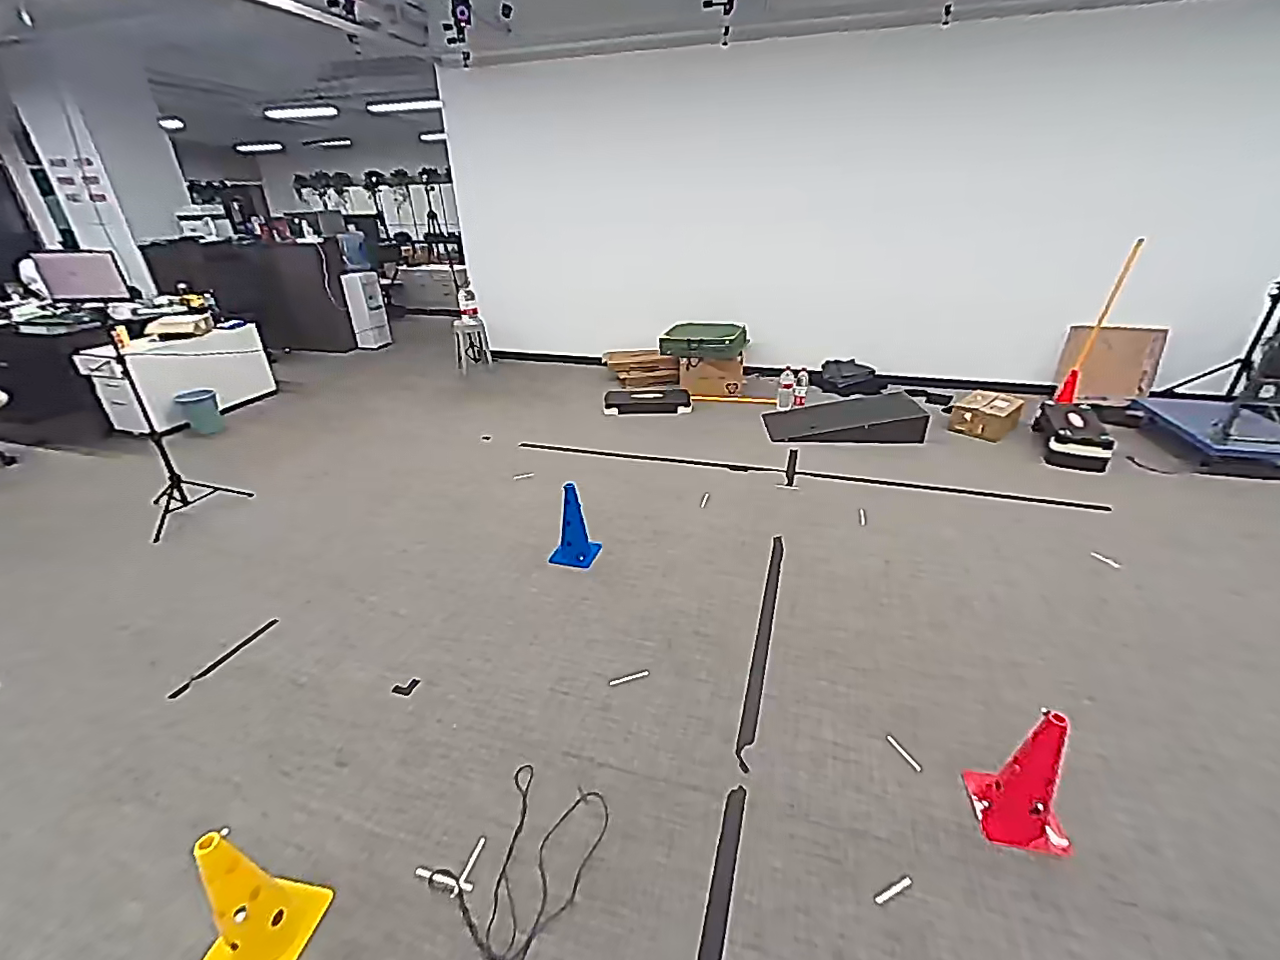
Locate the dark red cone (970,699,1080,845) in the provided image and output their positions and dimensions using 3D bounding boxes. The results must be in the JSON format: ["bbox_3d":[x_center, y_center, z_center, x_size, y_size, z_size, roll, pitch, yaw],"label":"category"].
[{"bbox_3d":[0.981,0.686,1.325,0.201,0.394,0.202,2,27,10],"label":"dark red cone"}]

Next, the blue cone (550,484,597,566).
[{"bbox_3d":[-0.310,0.190,2.416,0.192,0.380,0.193,6,28,17],"label":"blue cone"}]
